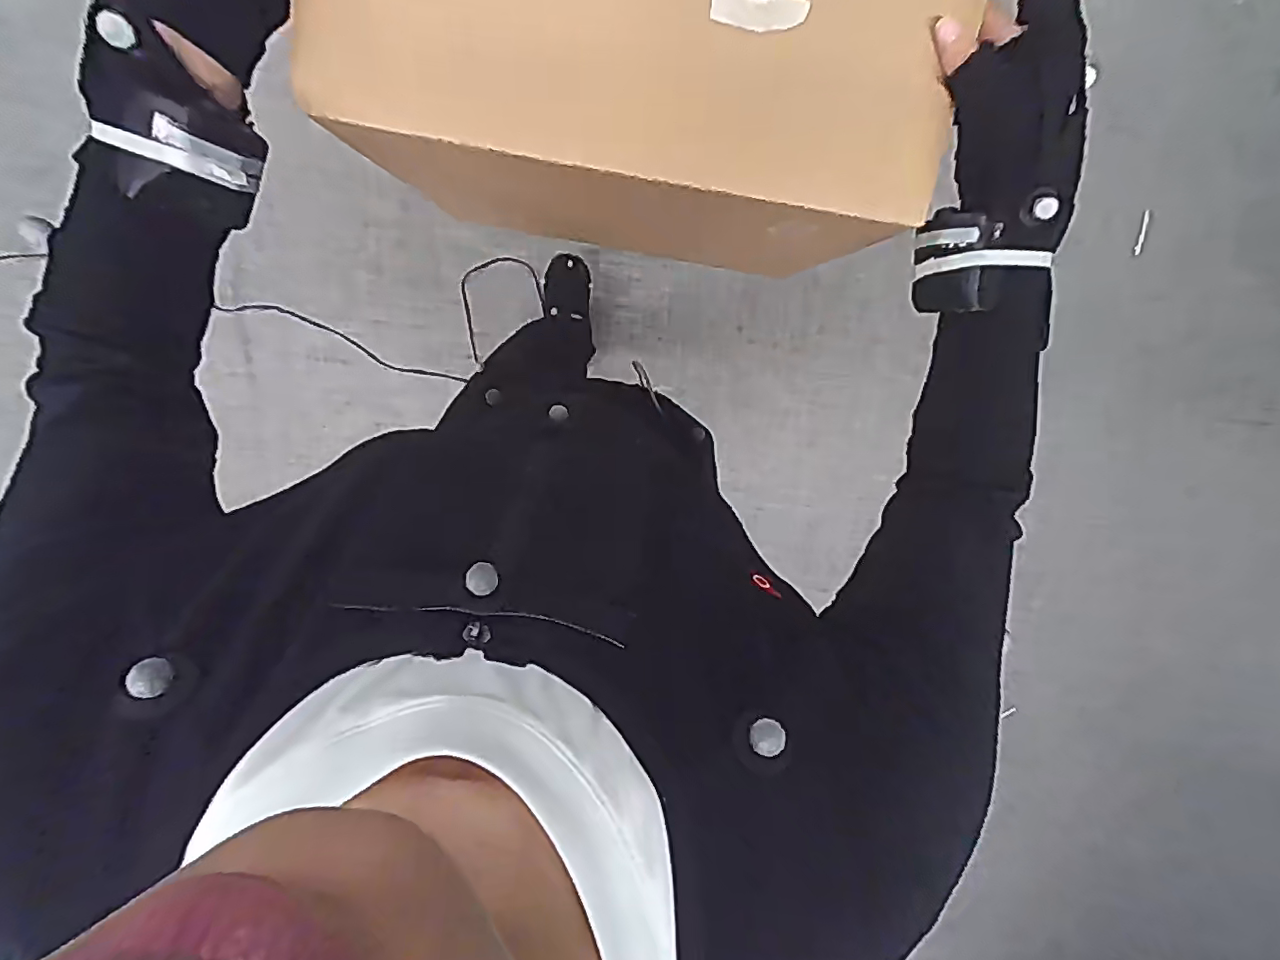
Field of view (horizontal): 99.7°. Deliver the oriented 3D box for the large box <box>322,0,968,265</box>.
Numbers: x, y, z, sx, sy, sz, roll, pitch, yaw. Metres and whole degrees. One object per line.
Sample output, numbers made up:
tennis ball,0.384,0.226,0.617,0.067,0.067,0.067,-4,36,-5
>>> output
large box,0.009,-0.393,0.464,0.408,0.320,0.320,8,105,-4
